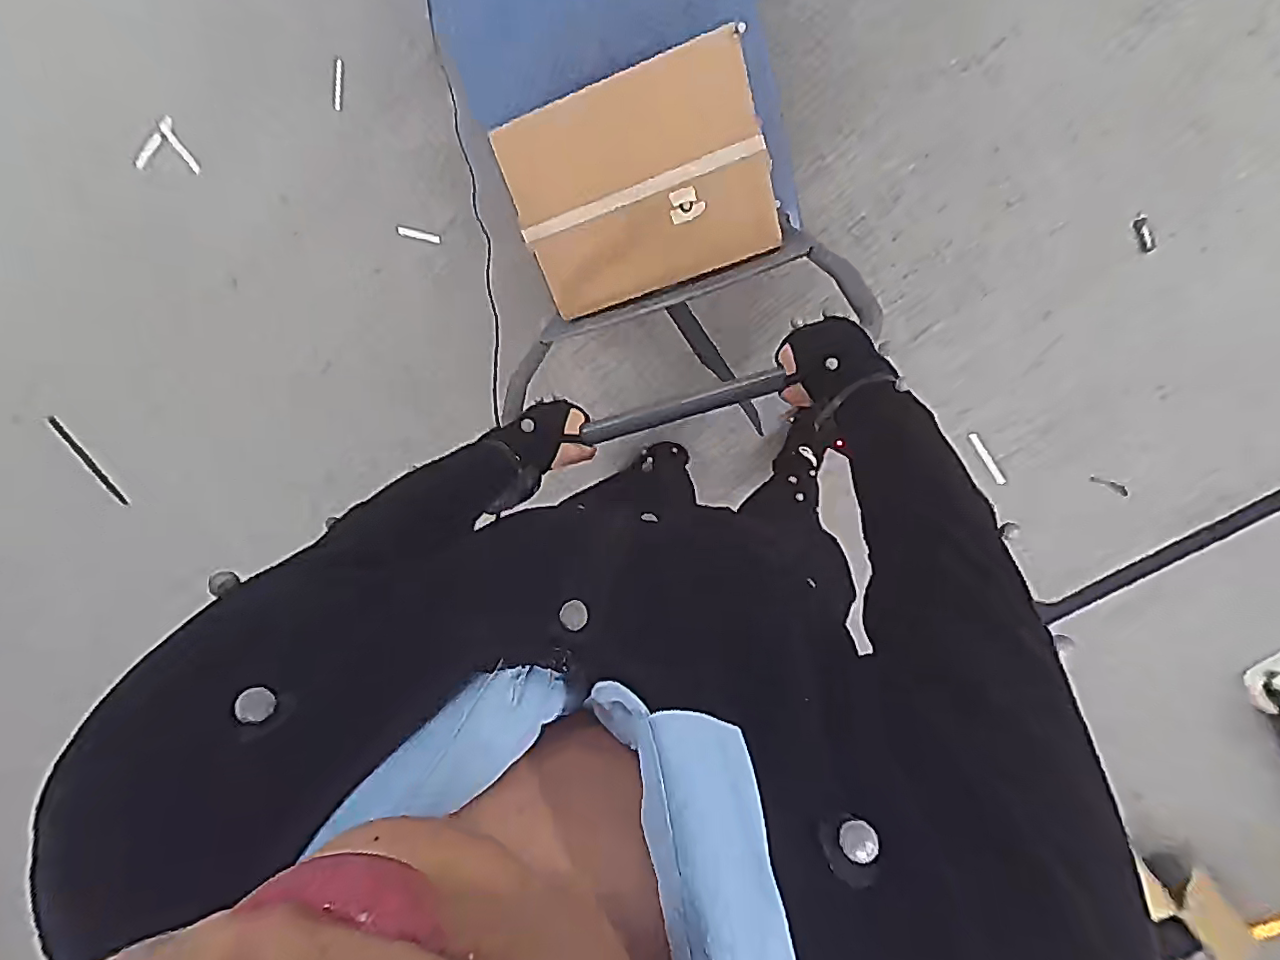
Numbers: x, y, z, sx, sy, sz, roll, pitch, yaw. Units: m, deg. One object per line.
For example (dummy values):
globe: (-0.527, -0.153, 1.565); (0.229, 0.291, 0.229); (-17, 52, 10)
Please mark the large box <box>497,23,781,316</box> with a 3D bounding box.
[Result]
large box: (0.010, -0.551, 1.022); (0.408, 0.320, 0.320); (-16, 117, 12)
